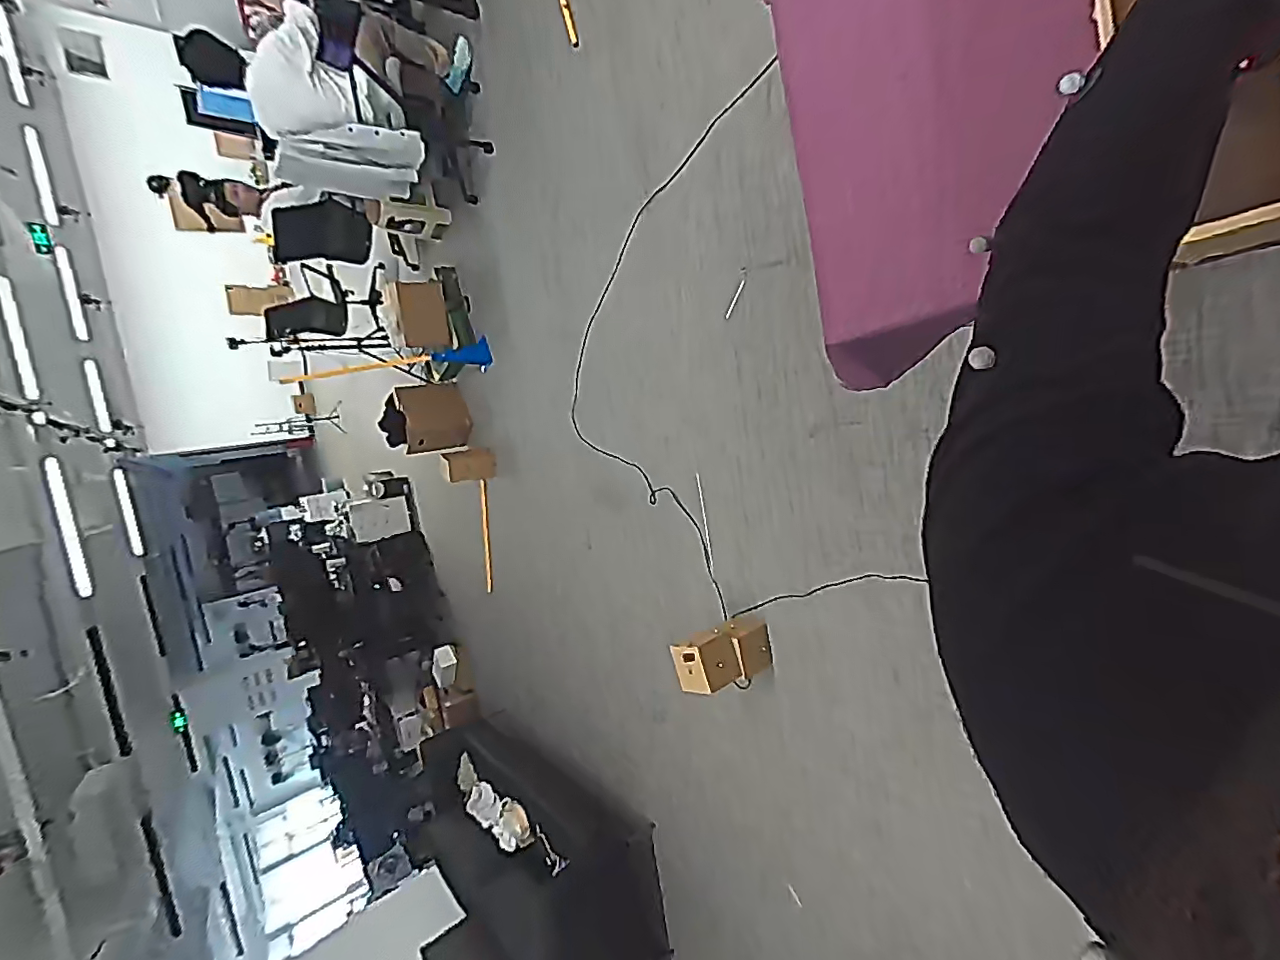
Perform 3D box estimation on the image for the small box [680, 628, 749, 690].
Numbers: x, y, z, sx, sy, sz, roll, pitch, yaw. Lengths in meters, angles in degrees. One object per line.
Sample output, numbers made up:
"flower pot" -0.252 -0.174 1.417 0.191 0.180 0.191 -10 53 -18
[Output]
"small box" 0.282 0.667 2.036 0.168 0.176 0.179 -23 83 54
